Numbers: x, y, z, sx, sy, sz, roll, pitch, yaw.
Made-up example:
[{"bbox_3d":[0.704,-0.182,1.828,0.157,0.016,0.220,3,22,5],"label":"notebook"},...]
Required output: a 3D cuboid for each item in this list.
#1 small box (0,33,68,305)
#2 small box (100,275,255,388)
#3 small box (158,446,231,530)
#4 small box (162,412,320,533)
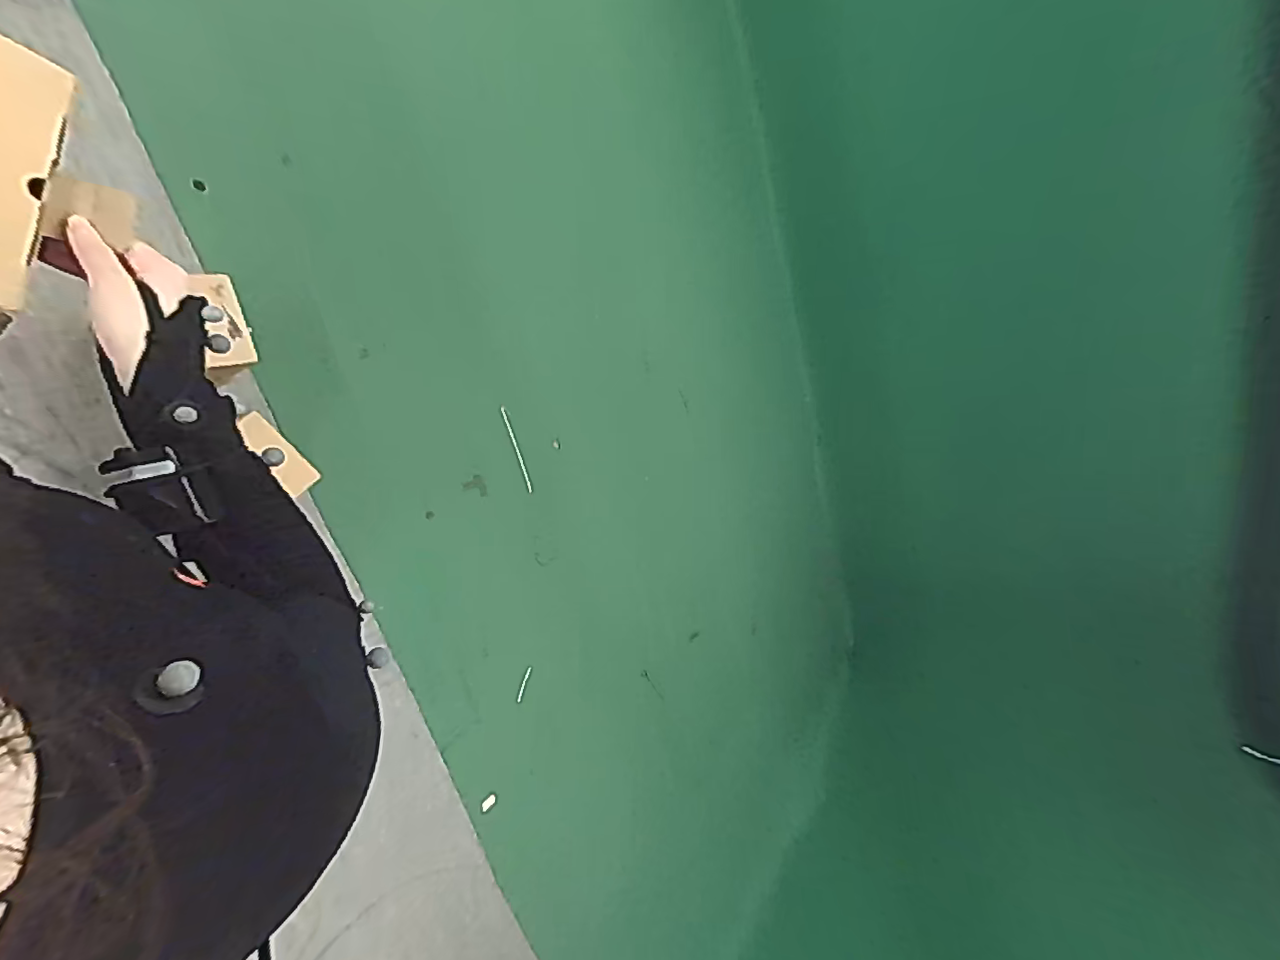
[{"bbox_3d":[-0.490,-0.199,0.316,0.179,0.176,0.168,14,82,-54],"label":"small box"},{"bbox_3d":[-0.862,-0.273,1.005,0.179,0.176,0.168,-25,106,-47],"label":"small box"},{"bbox_3d":[-0.910,-0.006,1.192,0.168,0.176,0.179,-42,120,-41],"label":"small box"},{"bbox_3d":[-0.795,-0.012,1.078,0.168,0.176,0.179,-54,128,-33],"label":"small box"}]
